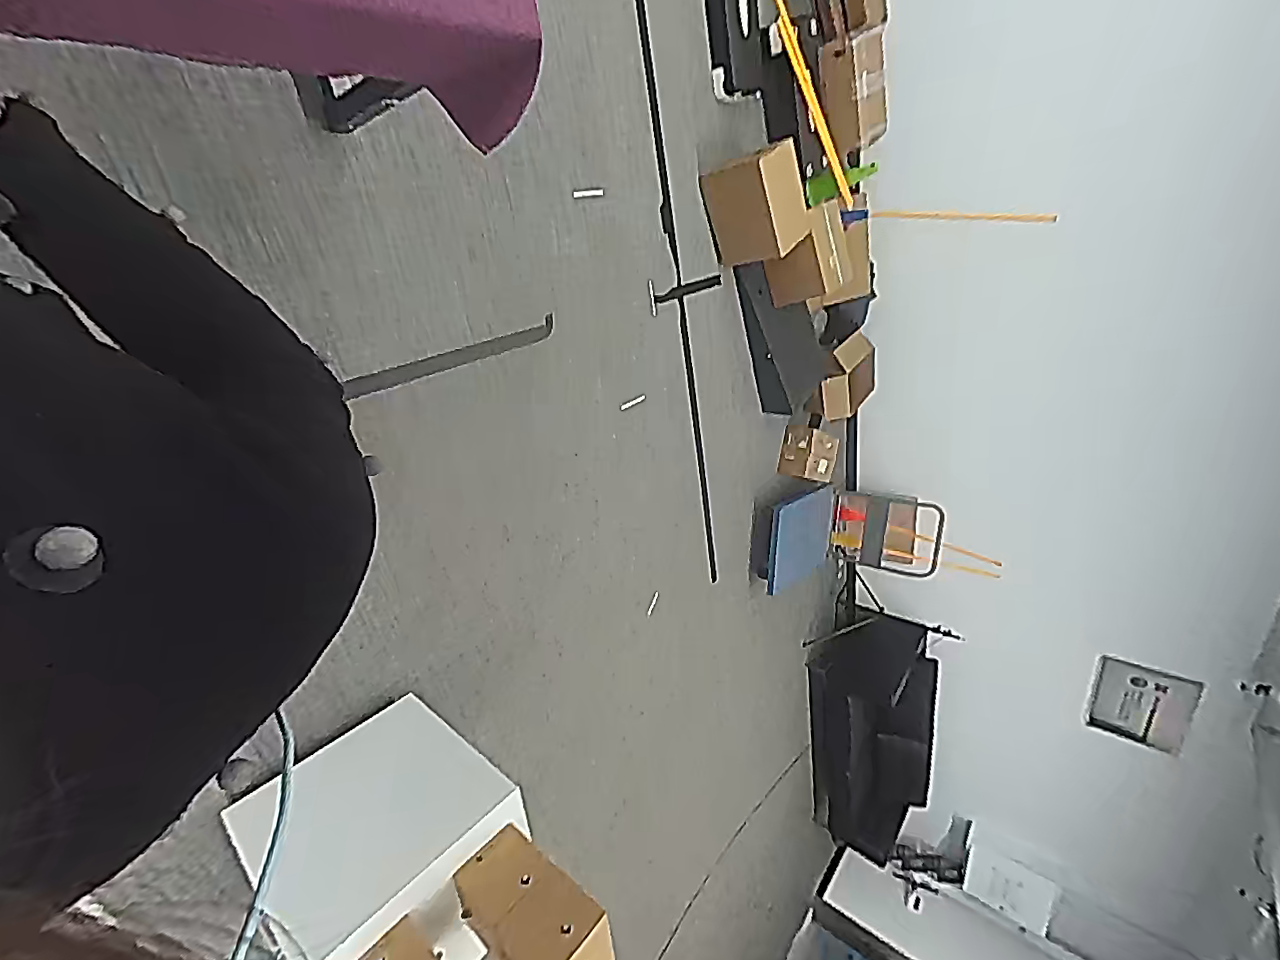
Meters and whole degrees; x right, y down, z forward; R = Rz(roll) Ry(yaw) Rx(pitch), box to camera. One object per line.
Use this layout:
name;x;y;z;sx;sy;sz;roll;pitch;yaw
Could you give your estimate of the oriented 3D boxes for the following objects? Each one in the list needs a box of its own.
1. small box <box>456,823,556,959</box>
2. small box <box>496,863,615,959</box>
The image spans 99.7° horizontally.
small box;-0.302;0.953;1.256;0.168;0.176;0.179;-26;120;-44
small box;-0.177;0.978;1.151;0.179;0.176;0.168;-26;119;-43
